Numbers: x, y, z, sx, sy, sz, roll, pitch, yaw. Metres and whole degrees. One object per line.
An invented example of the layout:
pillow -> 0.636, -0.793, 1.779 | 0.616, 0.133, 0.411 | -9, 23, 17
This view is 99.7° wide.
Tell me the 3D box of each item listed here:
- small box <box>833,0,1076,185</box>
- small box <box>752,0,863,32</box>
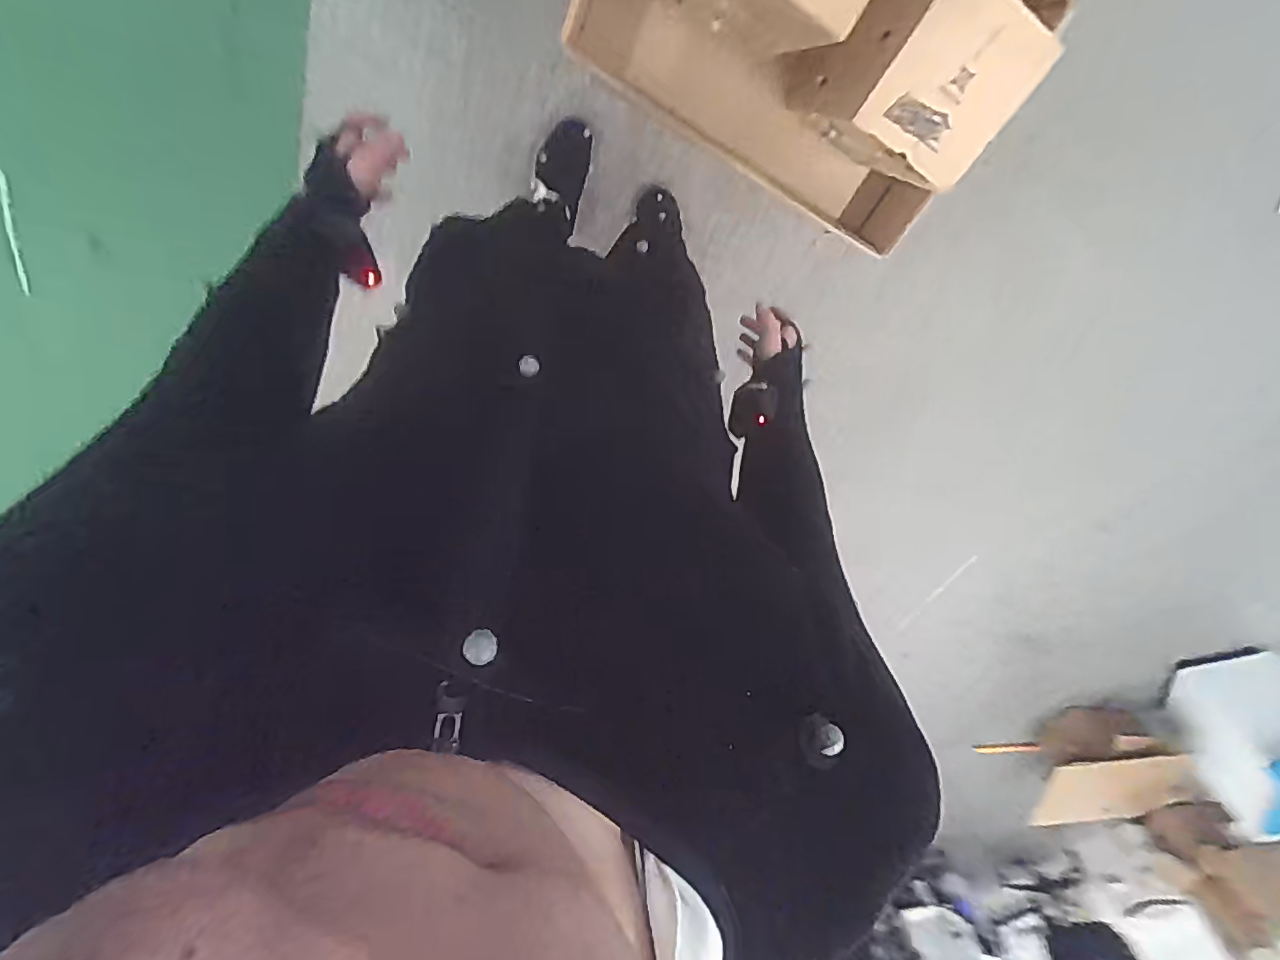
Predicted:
small box -> 0.367, -0.509, 0.675 | 0.168, 0.176, 0.179 | 24, 123, -19
small box -> 0.147, -0.524, 0.452 | 0.168, 0.176, 0.179 | 24, 123, -17
